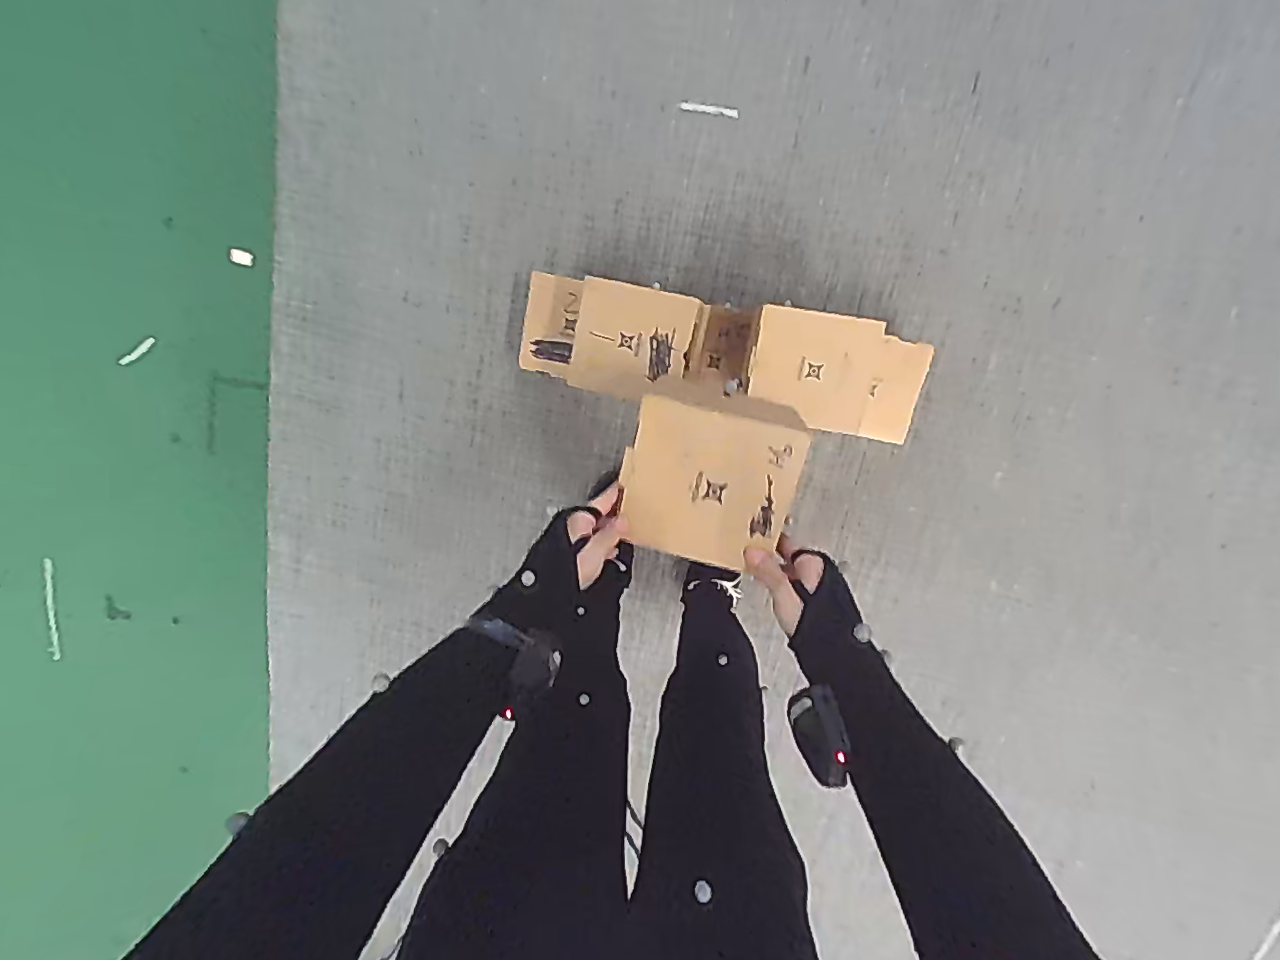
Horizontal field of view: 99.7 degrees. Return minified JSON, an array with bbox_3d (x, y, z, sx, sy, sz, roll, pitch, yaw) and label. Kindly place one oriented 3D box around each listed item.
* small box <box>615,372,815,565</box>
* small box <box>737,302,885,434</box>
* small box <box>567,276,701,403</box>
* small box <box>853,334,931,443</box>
[{"bbox_3d":[0.086,-0.026,0.642,0.179,0.176,0.168,15,109,5],"label":"small box"},{"bbox_3d":[0.253,-0.178,0.857,0.179,0.176,0.168,10,105,3],"label":"small box"},{"bbox_3d":[-0.002,-0.221,0.879,0.179,0.176,0.168,14,104,5],"label":"small box"},{"bbox_3d":[0.404,-0.182,1.007,0.168,0.176,0.179,12,104,5],"label":"small box"}]
